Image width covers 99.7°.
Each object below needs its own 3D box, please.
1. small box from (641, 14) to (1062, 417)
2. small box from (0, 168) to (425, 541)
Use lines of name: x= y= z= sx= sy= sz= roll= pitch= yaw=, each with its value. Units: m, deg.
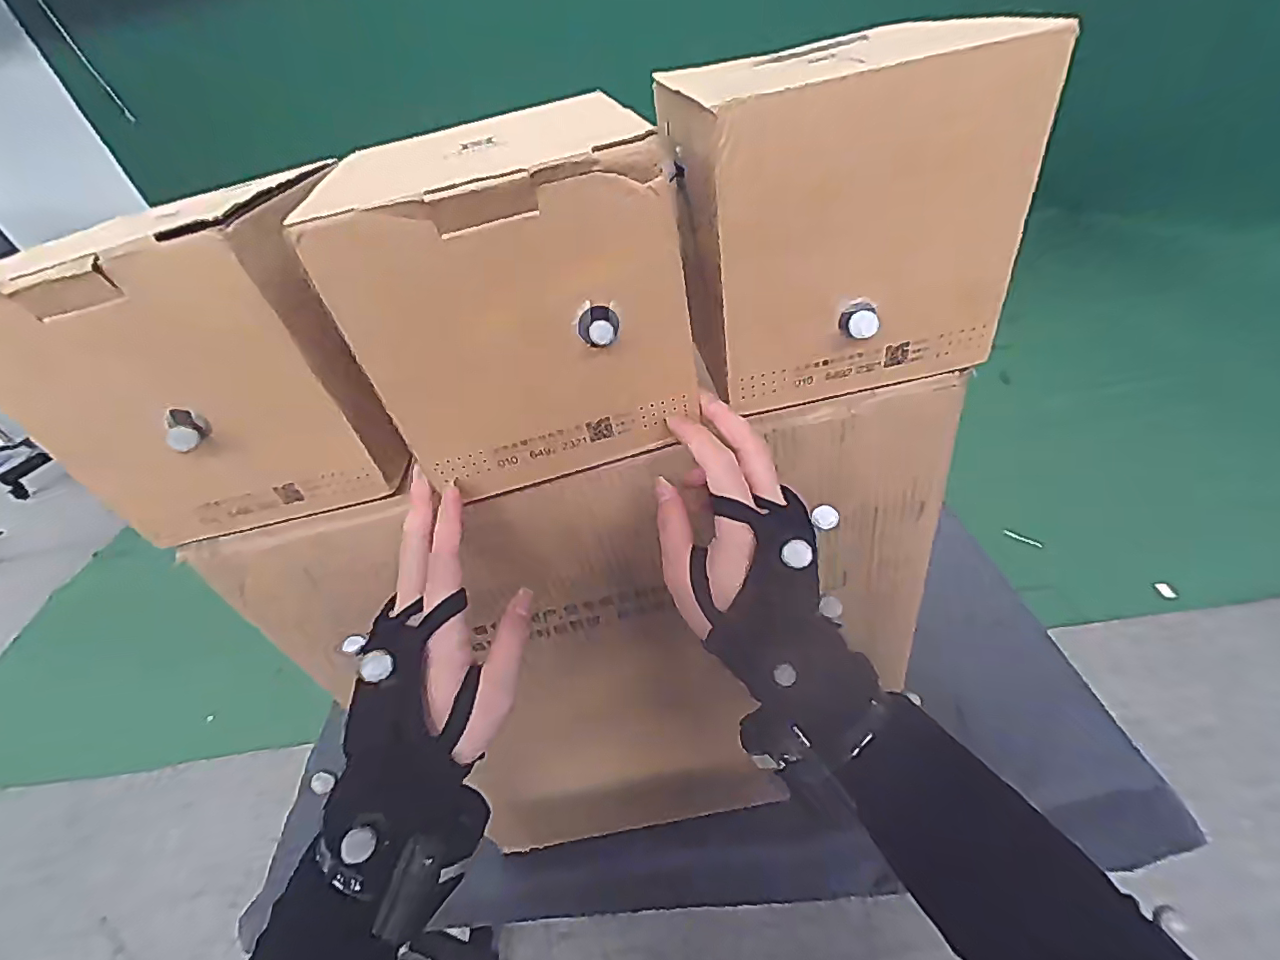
small box: x=0.101 y=-0.165 z=0.341 sx=0.168 sy=0.176 sz=0.179 roll=-13 pitch=41 yaw=2
small box: x=-0.268 y=-0.078 z=0.361 sx=0.168 sy=0.176 sz=0.179 roll=-14 pitch=40 yaw=3
